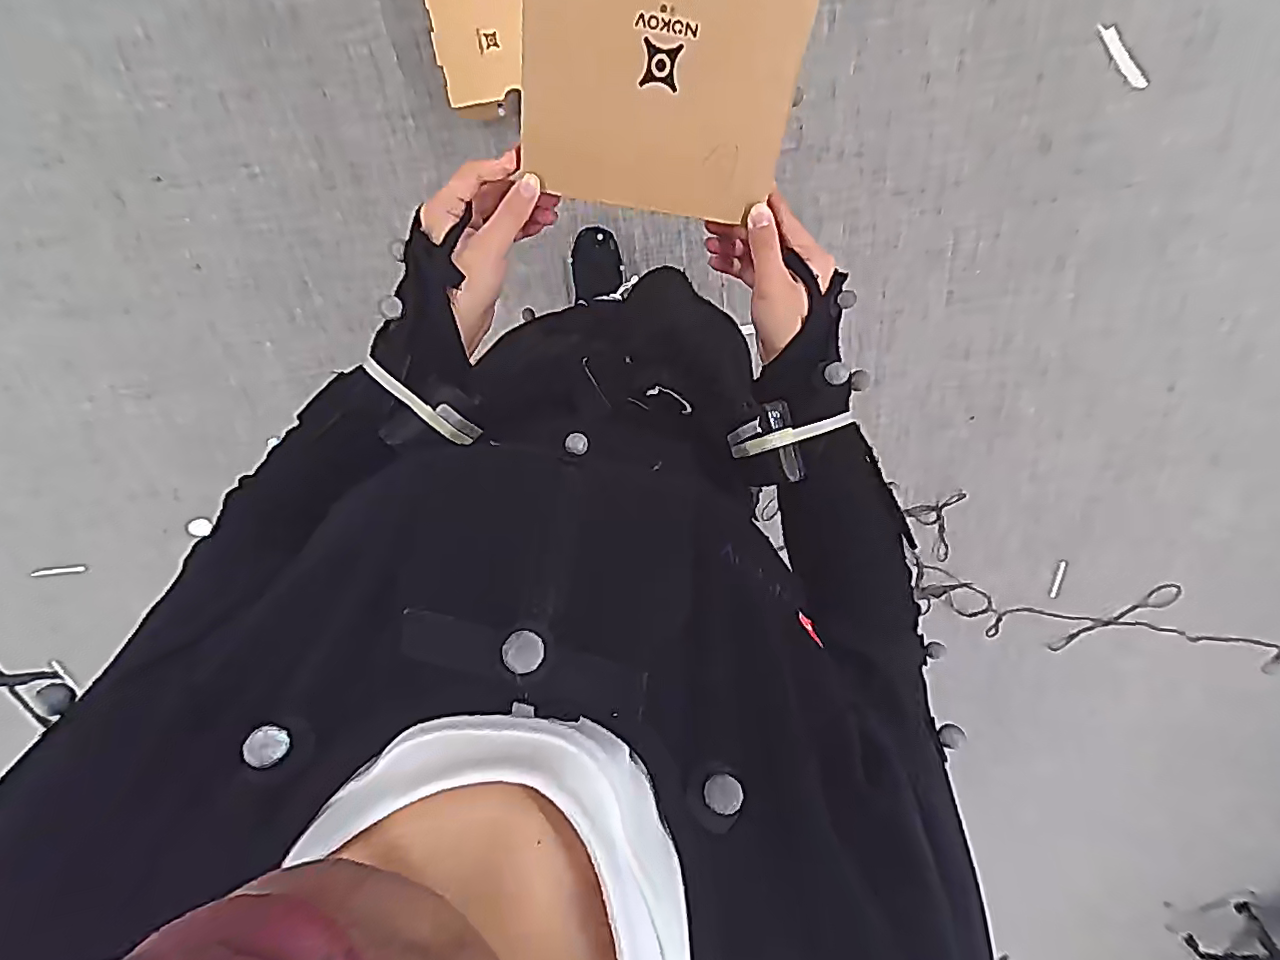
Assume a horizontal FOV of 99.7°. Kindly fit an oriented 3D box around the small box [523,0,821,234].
[{"bbox_3d":[0.016,-0.299,0.383,0.168,0.176,0.179,7,126,-6],"label":"small box"}]

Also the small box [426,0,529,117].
[{"bbox_3d":[-0.252,-0.758,0.958,0.179,0.176,0.168,-7,118,2],"label":"small box"}]
